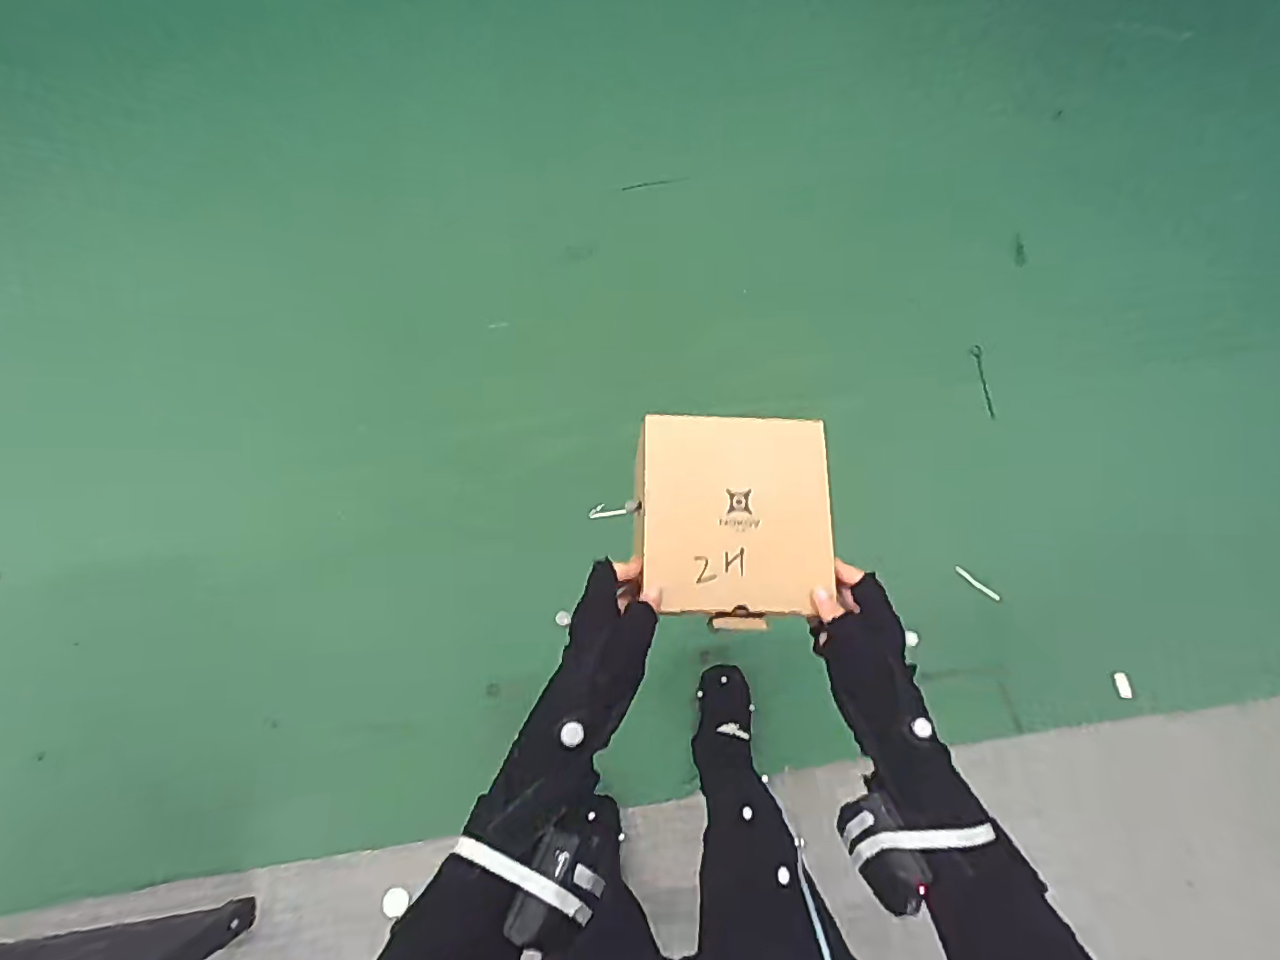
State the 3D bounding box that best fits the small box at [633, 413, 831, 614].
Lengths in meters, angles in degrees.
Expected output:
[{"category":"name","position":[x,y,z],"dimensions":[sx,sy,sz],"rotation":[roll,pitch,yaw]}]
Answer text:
[{"category":"small box","position":[0.079,0.045,0.554],"dimensions":[0.168,0.176,0.179],"rotation":[1,76,-2]}]
